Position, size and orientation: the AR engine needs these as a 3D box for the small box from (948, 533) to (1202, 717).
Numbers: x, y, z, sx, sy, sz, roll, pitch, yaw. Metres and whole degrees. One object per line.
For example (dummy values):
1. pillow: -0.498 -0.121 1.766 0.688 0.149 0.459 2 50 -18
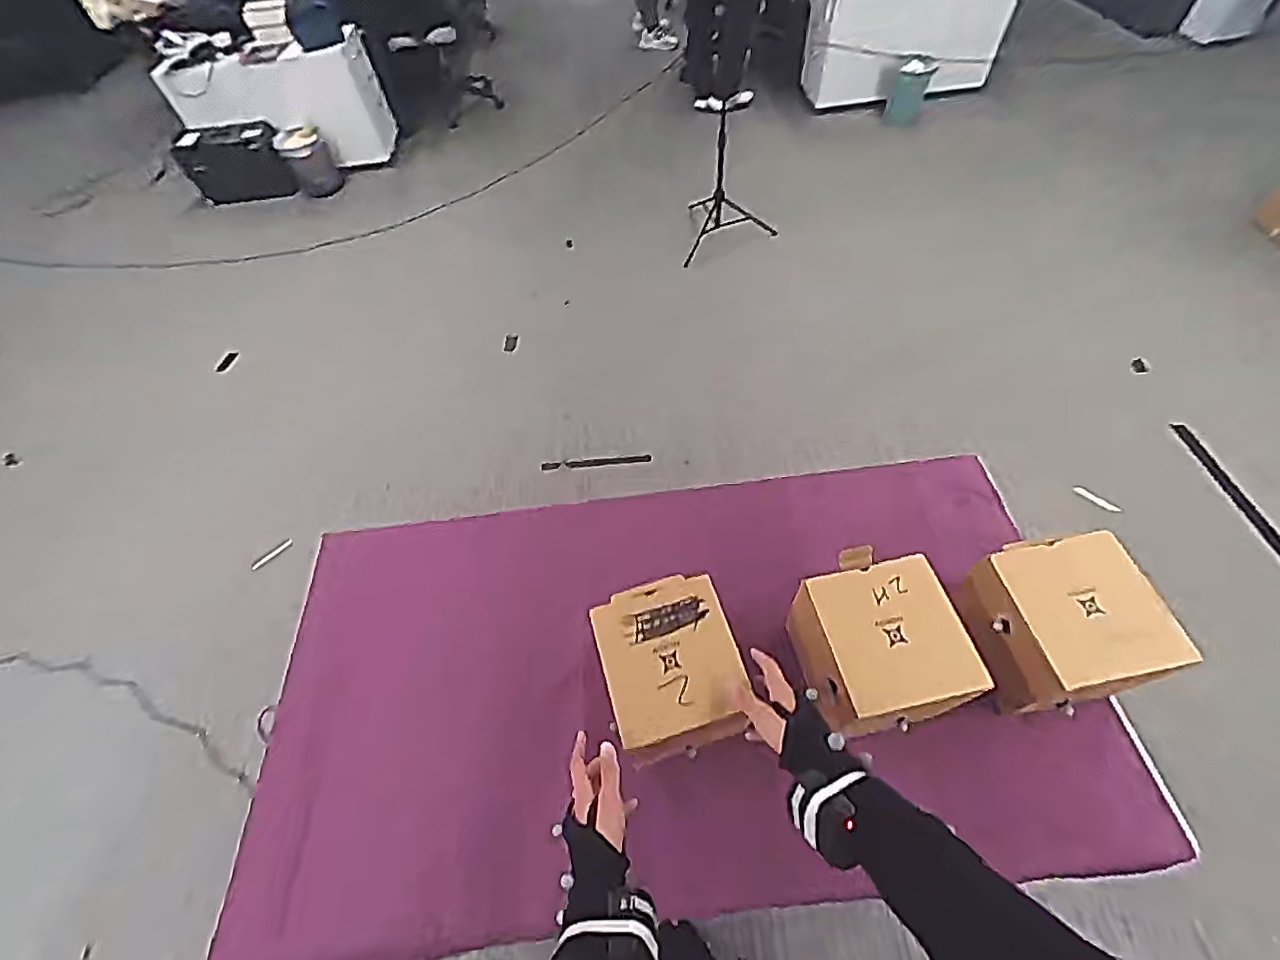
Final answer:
1. small box: 0.552 0.197 0.724 0.168 0.176 0.179 -11 55 0

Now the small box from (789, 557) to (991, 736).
1. small box: 0.315 0.231 0.725 0.168 0.176 0.179 -12 55 -2
